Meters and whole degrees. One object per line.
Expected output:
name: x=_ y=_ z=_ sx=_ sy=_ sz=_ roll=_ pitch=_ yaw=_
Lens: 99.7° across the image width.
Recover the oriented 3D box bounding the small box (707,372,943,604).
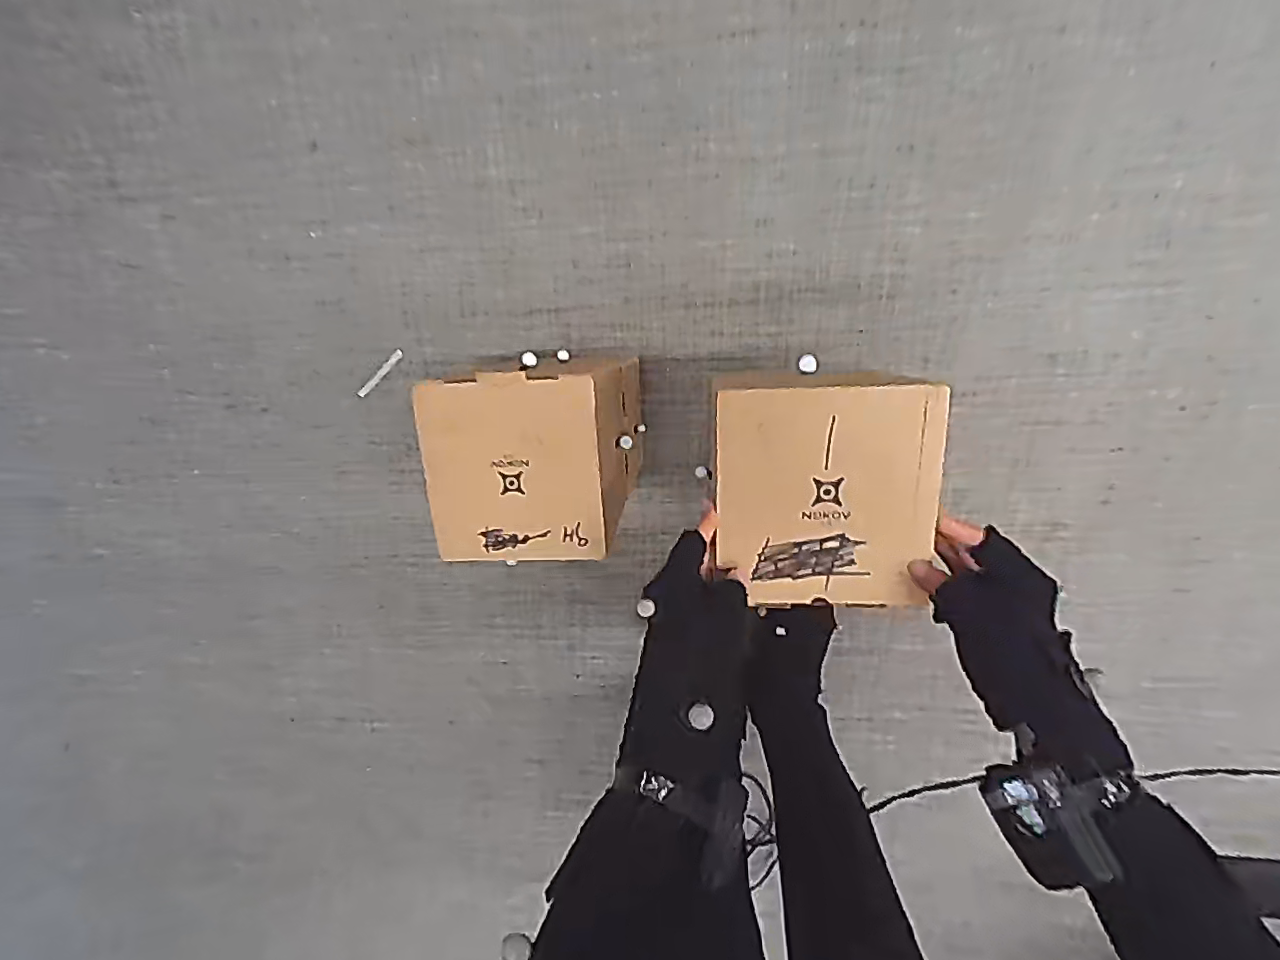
small box: x=0.148 y=-0.004 z=0.496 sx=0.168 sy=0.176 sz=0.179 roll=0 pitch=104 yaw=5
